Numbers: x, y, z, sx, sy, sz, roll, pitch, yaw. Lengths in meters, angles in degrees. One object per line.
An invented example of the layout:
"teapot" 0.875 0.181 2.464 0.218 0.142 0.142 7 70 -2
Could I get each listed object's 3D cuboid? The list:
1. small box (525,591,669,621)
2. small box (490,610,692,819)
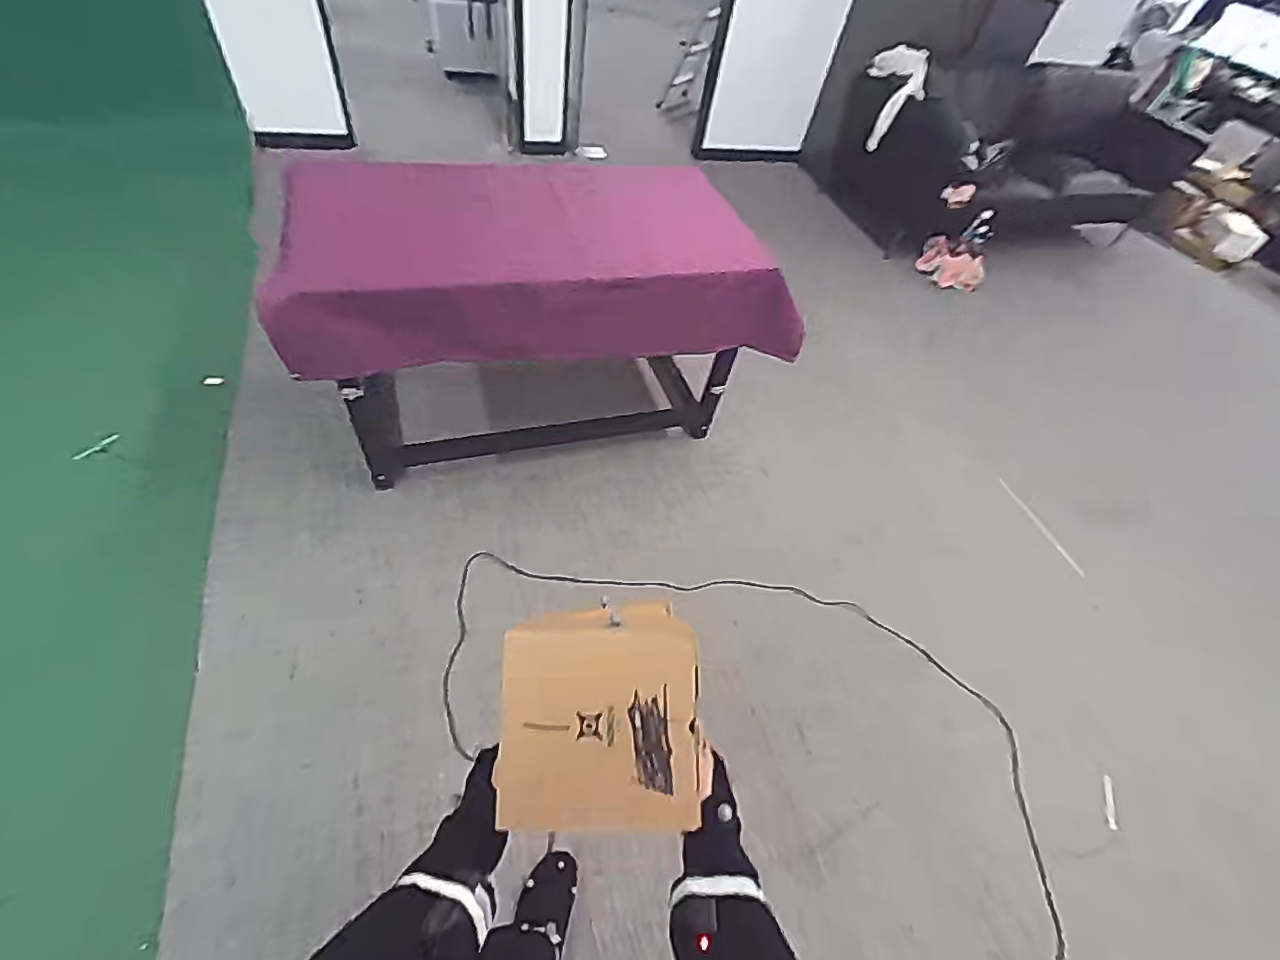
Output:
"small box" -0.047 0.241 0.721 0.179 0.176 0.168 -6 80 -2
"small box" -0.043 0.224 0.557 0.179 0.176 0.168 0 80 0
